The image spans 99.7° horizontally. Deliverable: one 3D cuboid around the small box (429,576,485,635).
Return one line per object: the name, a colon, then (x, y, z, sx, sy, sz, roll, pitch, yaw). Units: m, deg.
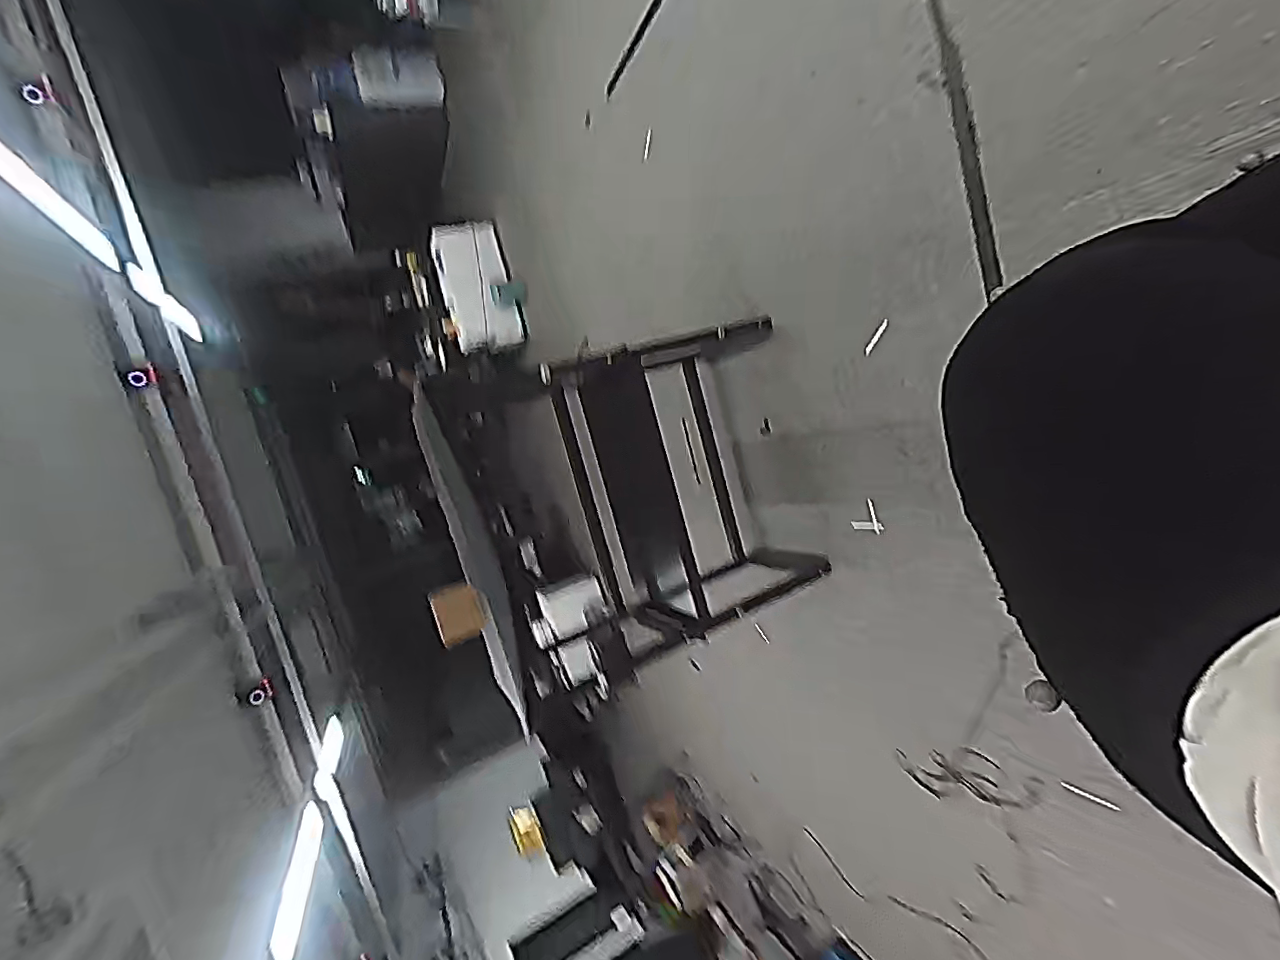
small box: (-0.718, 0.487, 2.125, 0.179, 0.176, 0.168, -9, 99, 65)
